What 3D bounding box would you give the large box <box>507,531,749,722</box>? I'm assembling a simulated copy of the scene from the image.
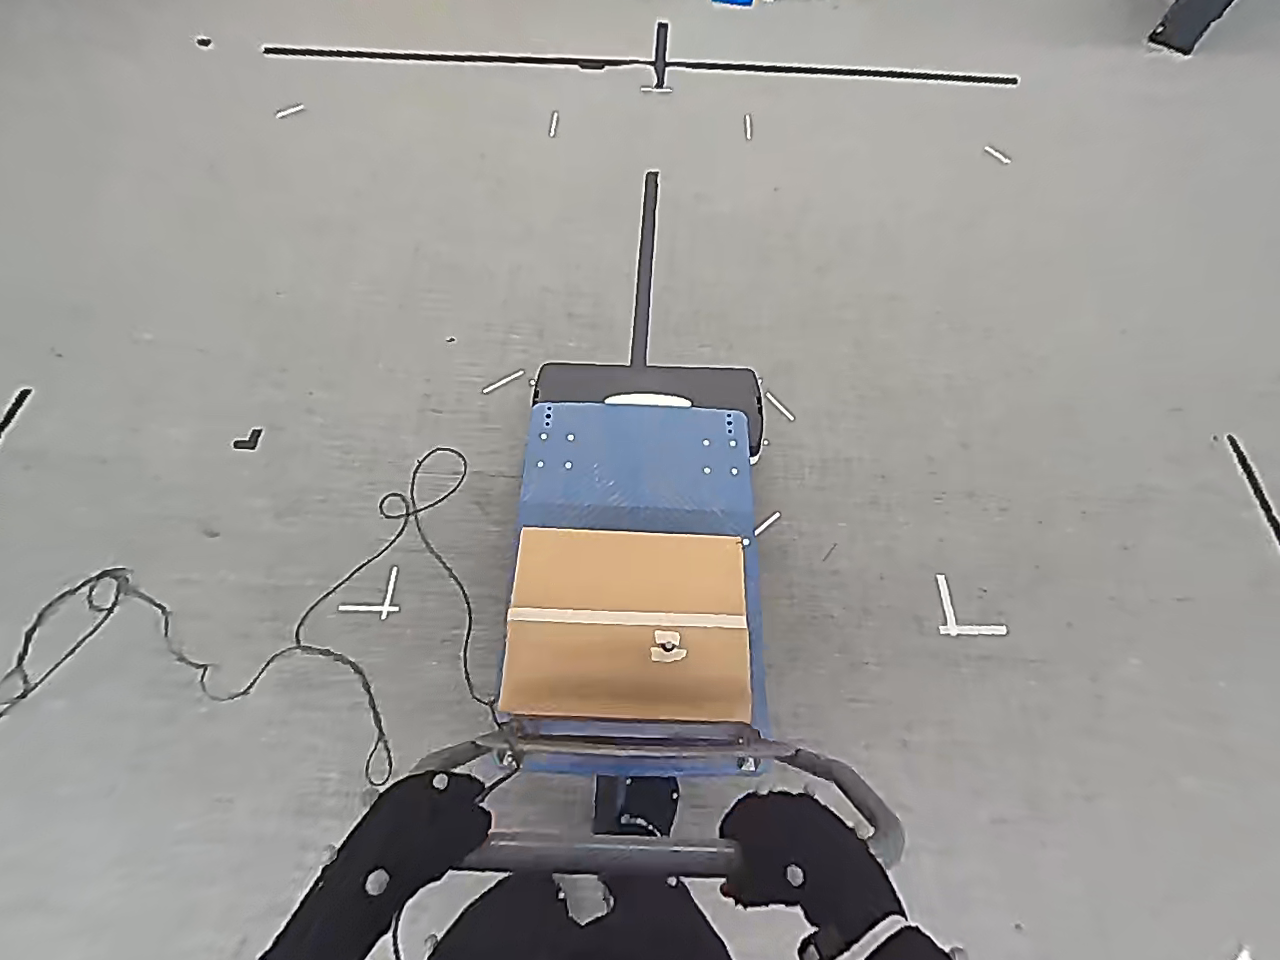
[{"bbox_3d":[-0.025,0.305,1.075,0.408,0.320,0.320,3,65,-2],"label":"large box"}]
